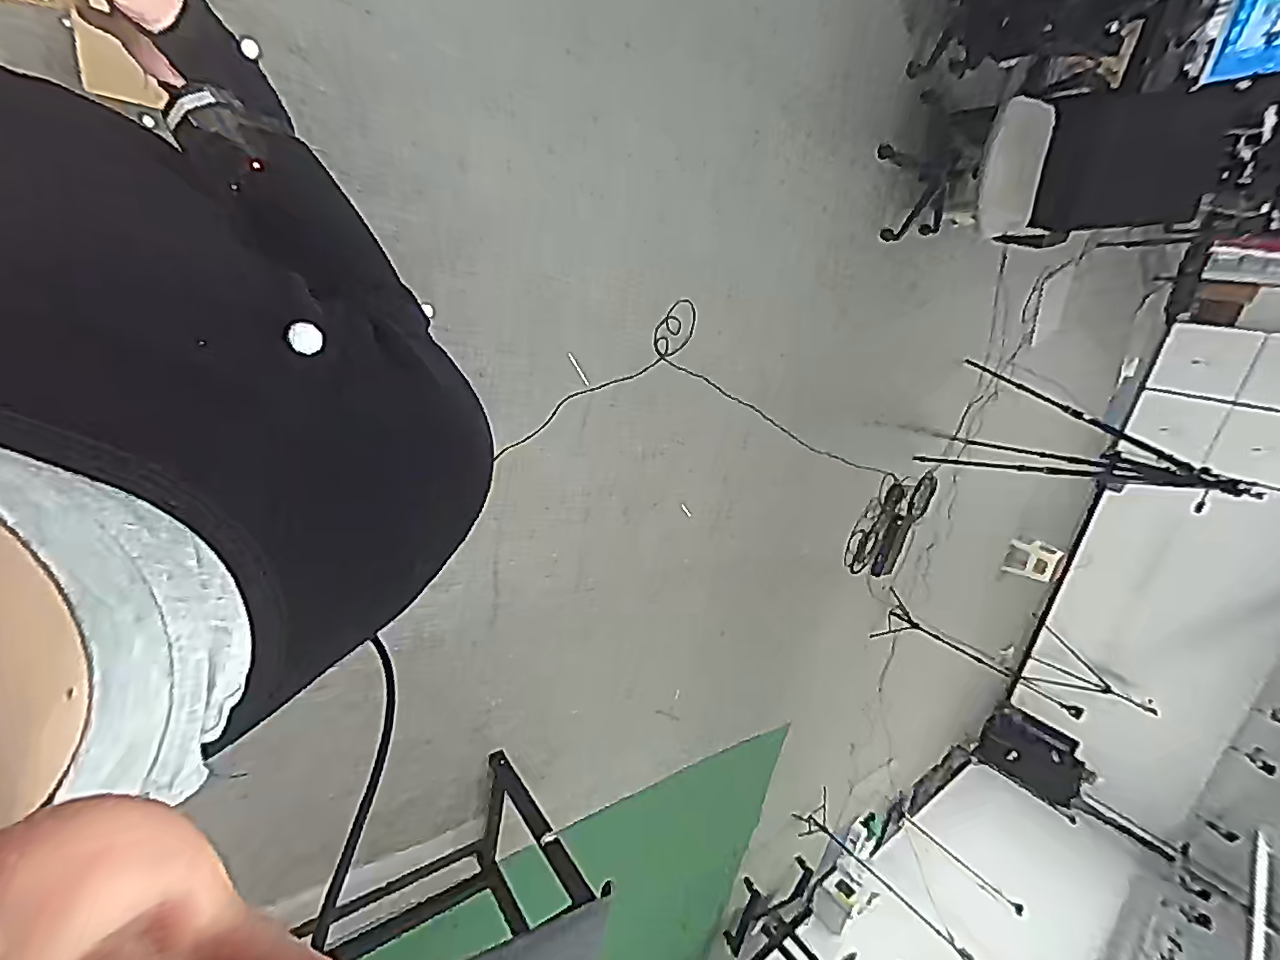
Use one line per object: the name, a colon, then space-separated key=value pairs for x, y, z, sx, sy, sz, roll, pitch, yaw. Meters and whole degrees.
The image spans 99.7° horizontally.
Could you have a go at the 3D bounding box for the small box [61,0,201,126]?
small box: x=-0.896 y=-0.759 z=0.959 sx=0.168 sy=0.176 sz=0.179 roll=-7 pitch=115 yaw=-38
